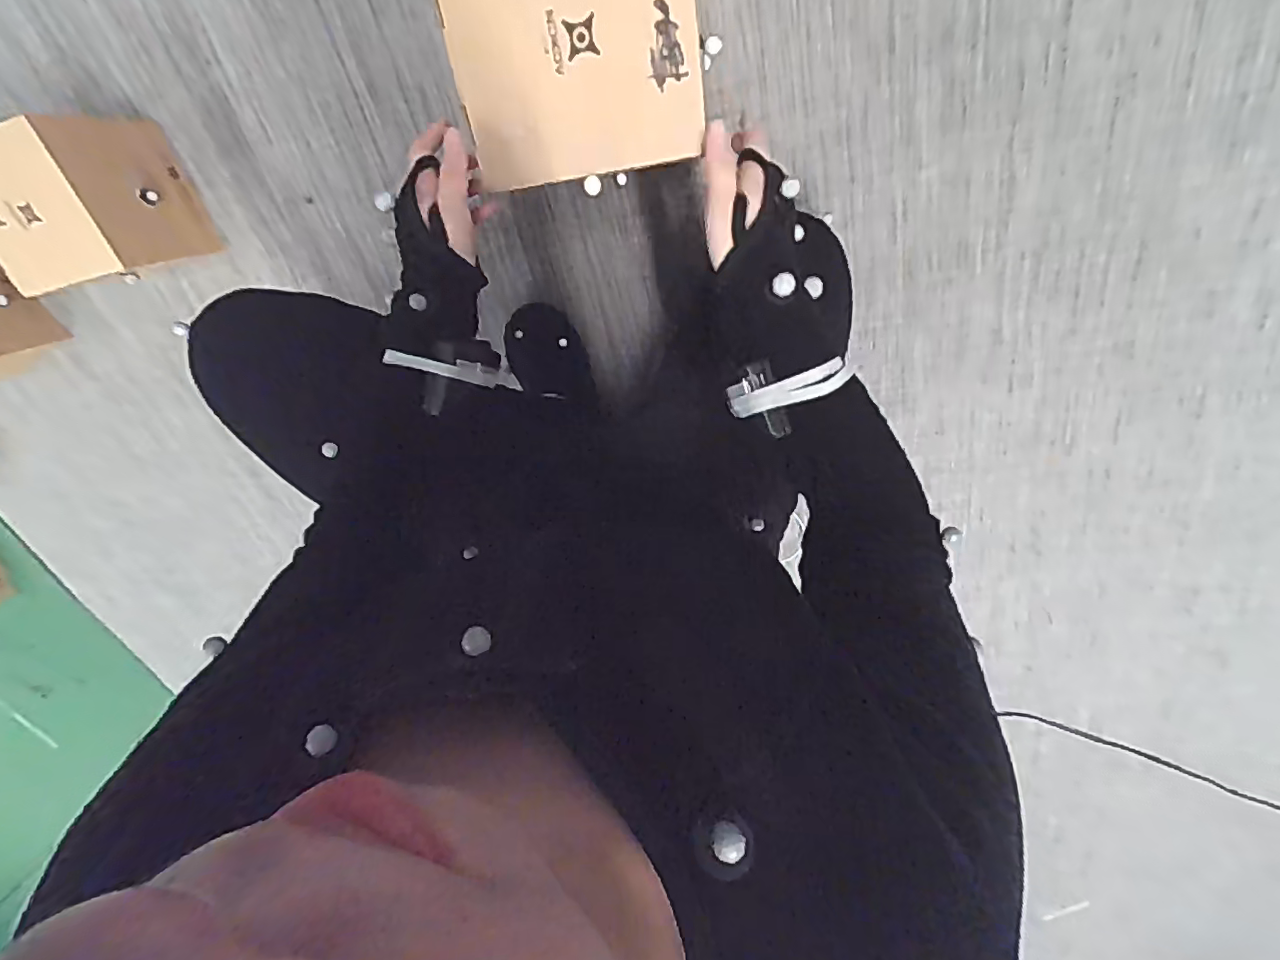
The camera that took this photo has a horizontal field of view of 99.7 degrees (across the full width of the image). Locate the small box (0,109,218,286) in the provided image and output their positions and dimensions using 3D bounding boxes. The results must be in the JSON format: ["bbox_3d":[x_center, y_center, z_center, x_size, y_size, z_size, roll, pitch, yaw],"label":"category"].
[{"bbox_3d":[-0.716,-0.372,0.718,0.179,0.176,0.168,-7,119,13],"label":"small box"}]

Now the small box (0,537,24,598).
[{"bbox_3d":[-1.567,0.210,1.204,0.179,0.176,0.168,13,122,1],"label":"small box"}]

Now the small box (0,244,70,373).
[{"bbox_3d":[-1.075,-0.255,0.844,0.179,0.176,0.168,-19,116,18],"label":"small box"}]

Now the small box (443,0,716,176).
[{"bbox_3d":[-0.034,-0.349,0.434,0.179,0.176,0.168,-4,120,11],"label":"small box"}]
